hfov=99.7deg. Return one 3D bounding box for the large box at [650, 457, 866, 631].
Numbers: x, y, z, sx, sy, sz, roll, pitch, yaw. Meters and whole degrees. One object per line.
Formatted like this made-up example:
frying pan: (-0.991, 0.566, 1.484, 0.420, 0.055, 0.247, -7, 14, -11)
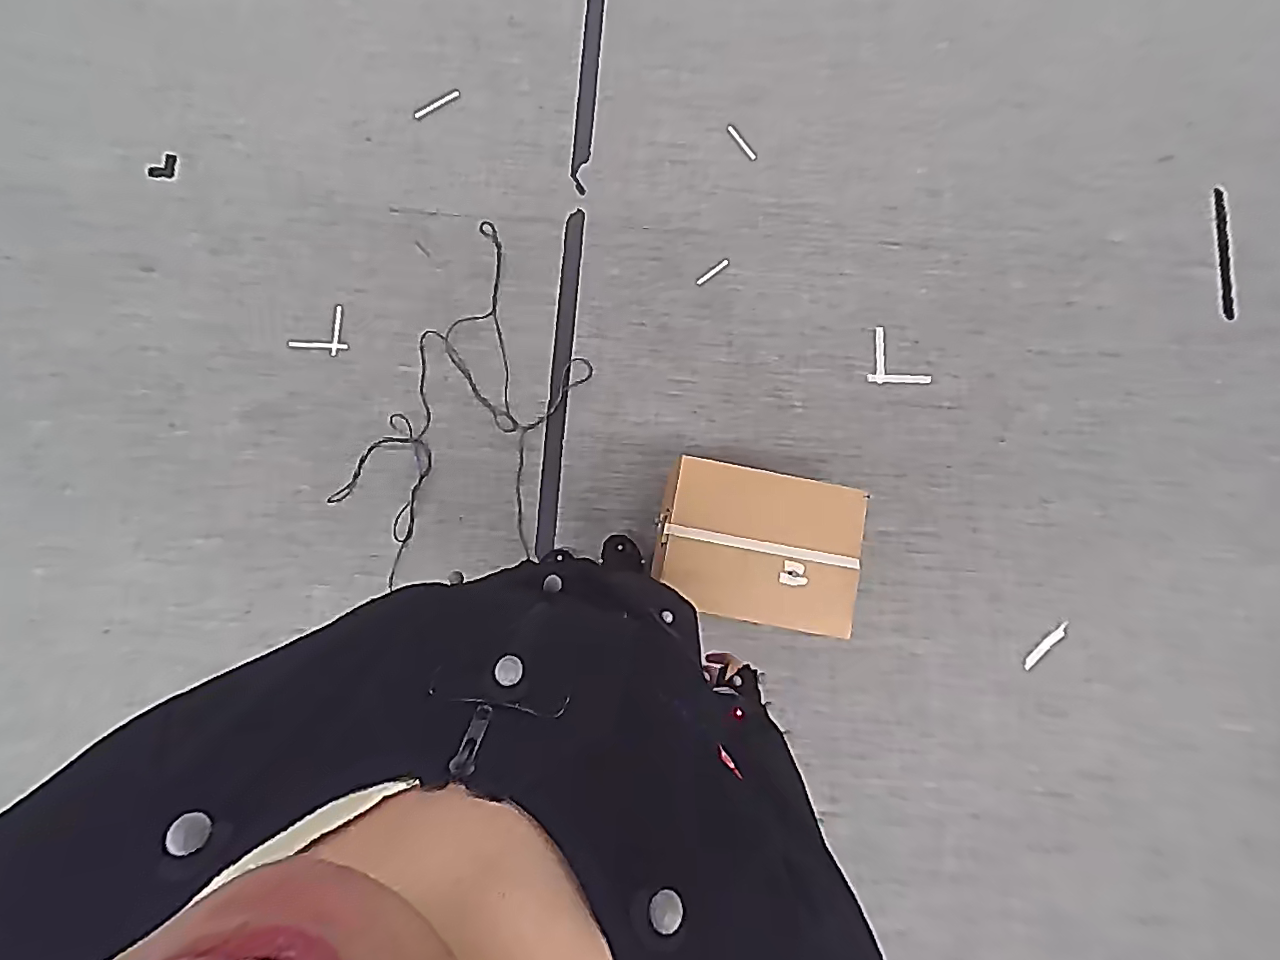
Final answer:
large box: (0.251, 0.147, 1.266, 0.408, 0.320, 0.320, 10, 84, -2)
